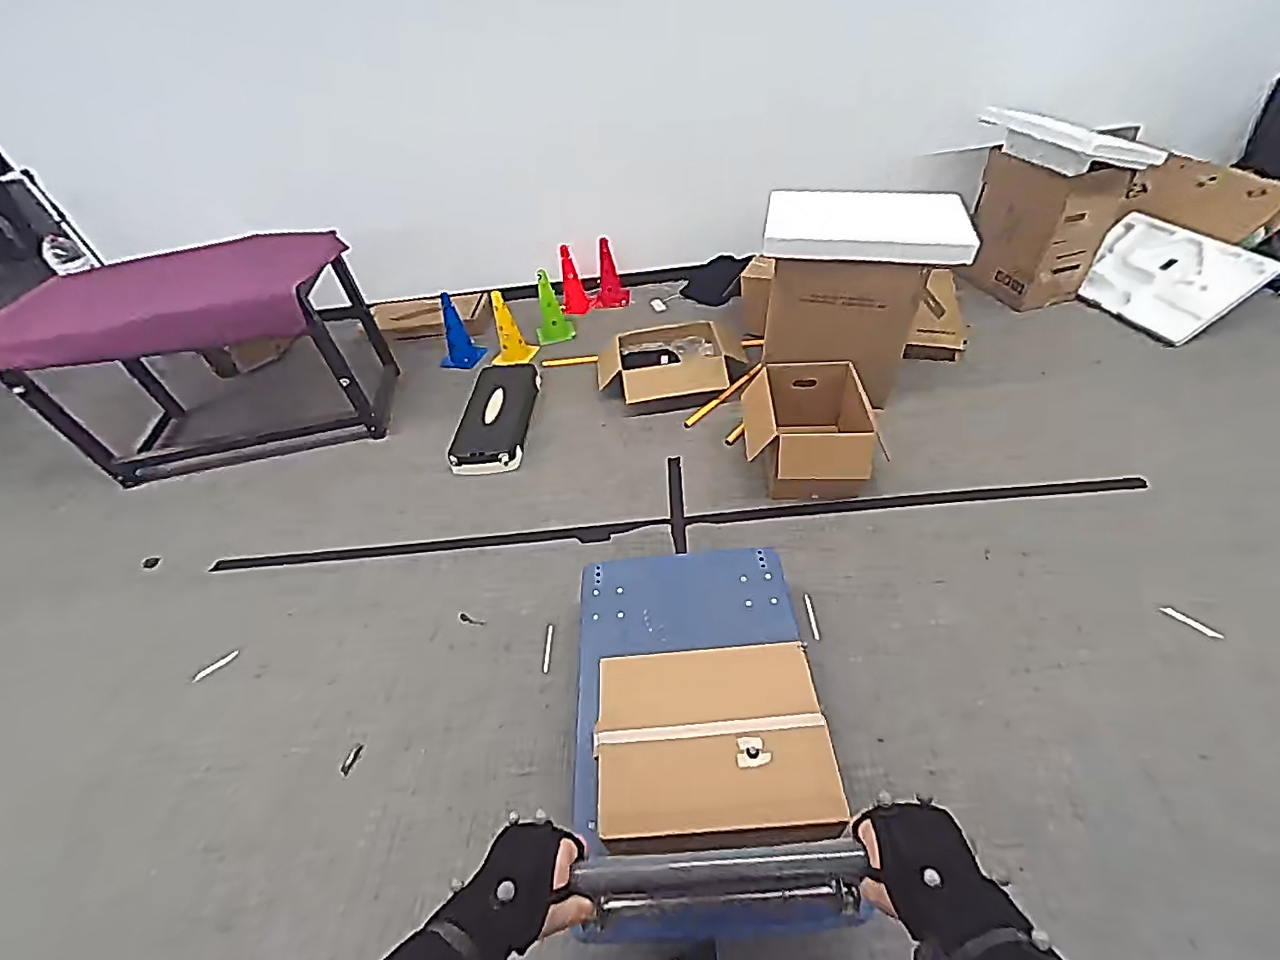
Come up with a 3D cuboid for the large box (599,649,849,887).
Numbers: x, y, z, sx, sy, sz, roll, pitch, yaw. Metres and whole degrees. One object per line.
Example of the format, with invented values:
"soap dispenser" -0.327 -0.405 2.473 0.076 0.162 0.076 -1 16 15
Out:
"large box" 0.136 0.565 1.060 0.408 0.320 0.320 -5 44 1
